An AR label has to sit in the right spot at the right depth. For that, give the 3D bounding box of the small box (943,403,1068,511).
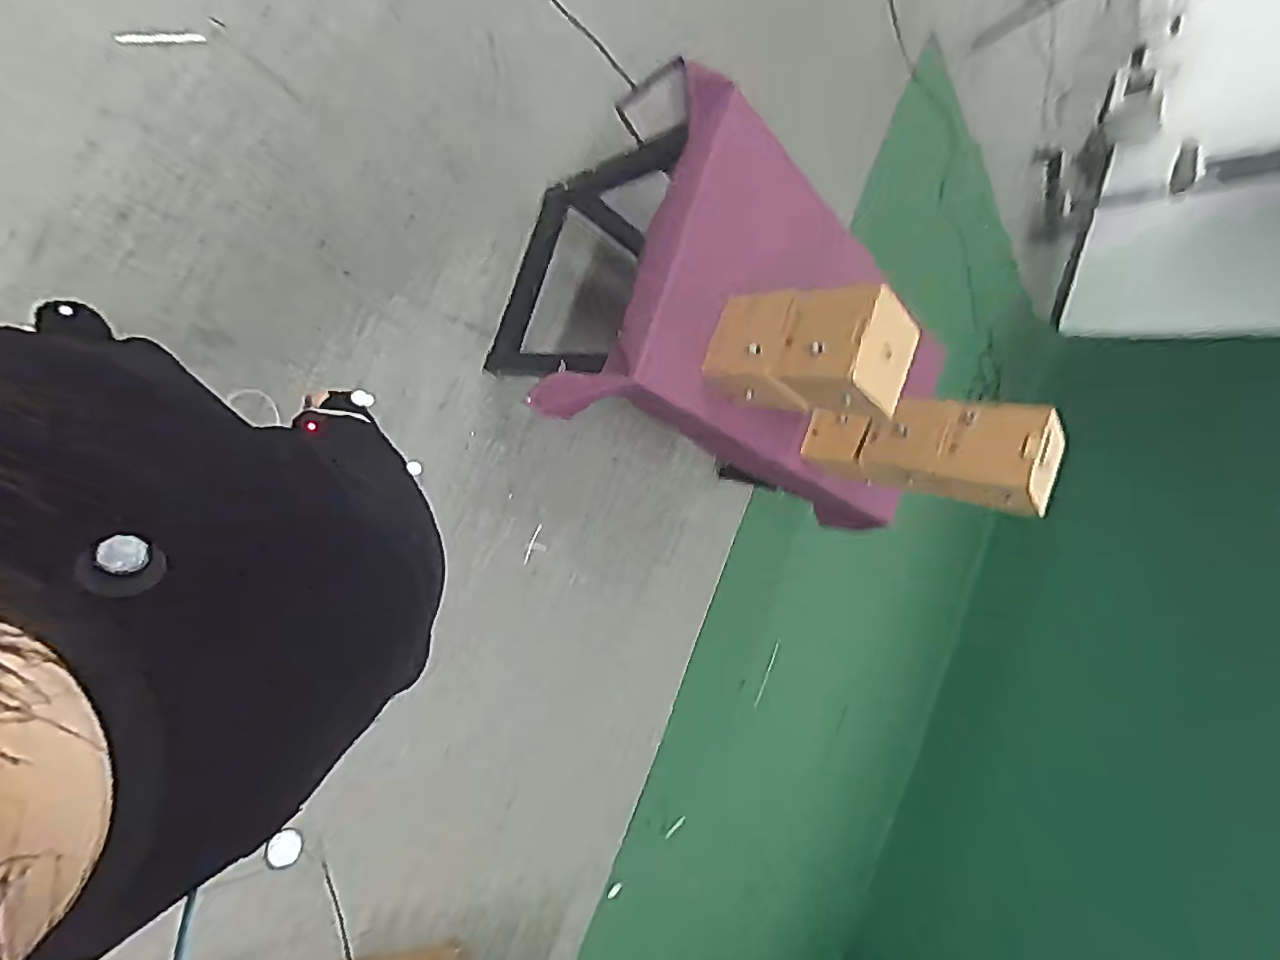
[{"bbox_3d":[0.759,-0.052,1.128,0.179,0.176,0.168,28,82,-42],"label":"small box"}]

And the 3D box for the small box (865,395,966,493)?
[{"bbox_3d":[0.648,-0.086,1.245,0.179,0.176,0.168,28,83,-40],"label":"small box"}]

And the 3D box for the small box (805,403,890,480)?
[{"bbox_3d":[0.548,-0.114,1.373,0.179,0.176,0.168,23,85,-42],"label":"small box"}]

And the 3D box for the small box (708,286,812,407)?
[{"bbox_3d":[0.263,-0.265,1.092,0.168,0.176,0.179,25,84,-42],"label":"small box"}]

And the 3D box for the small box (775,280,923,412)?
[{"bbox_3d":[0.371,-0.234,0.973,0.179,0.176,0.168,23,87,-42],"label":"small box"}]
